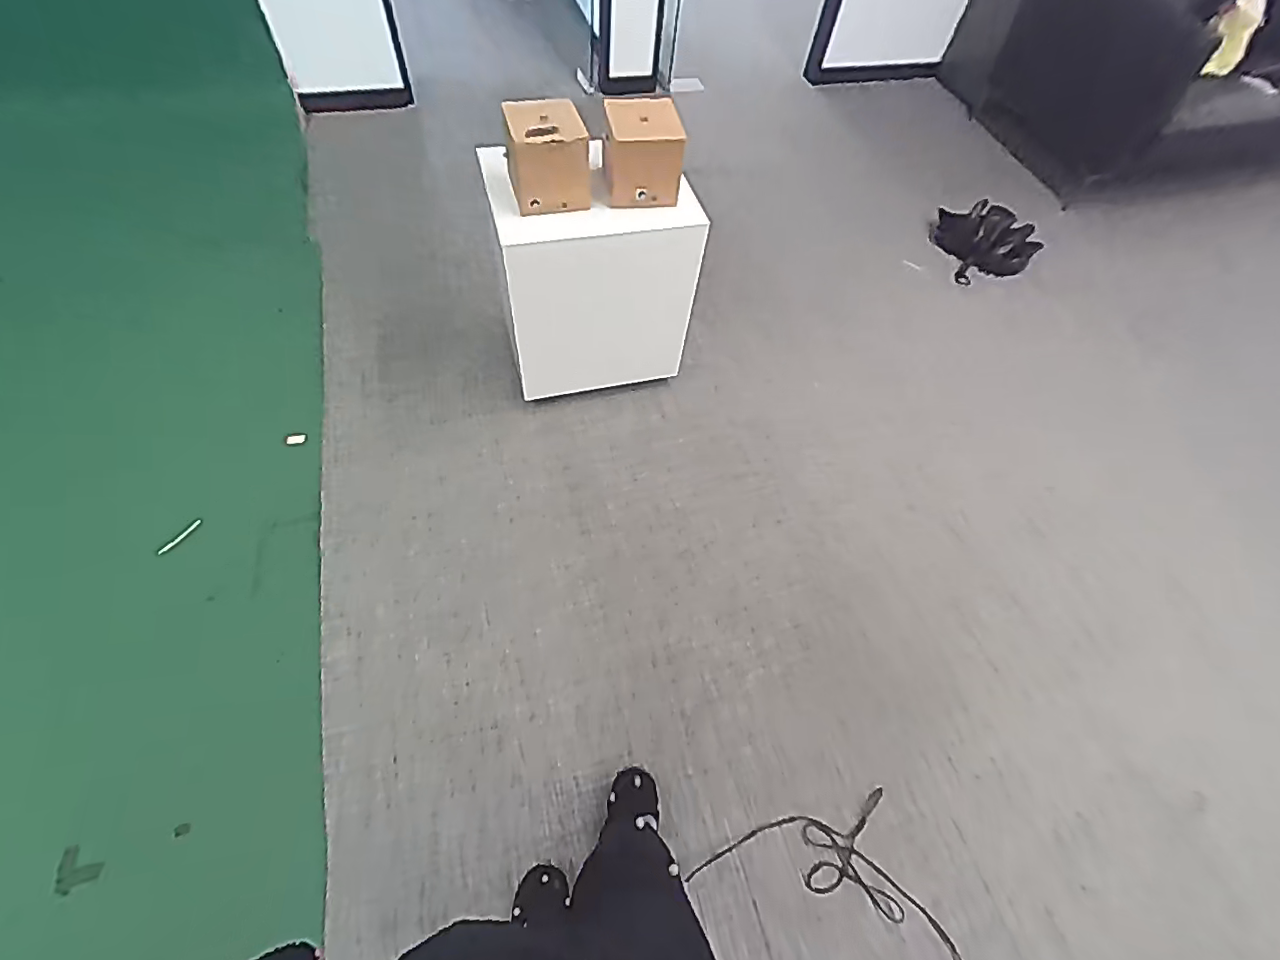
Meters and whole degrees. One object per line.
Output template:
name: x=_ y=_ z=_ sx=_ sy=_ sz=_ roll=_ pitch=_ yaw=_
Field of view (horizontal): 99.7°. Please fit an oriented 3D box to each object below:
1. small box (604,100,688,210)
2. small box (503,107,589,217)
small box: x=0.006 y=-0.783 z=1.305 sx=0.168 sy=0.176 sz=0.179 roll=-8 pitch=62 yaw=-9
small box: x=-0.218 y=-0.743 z=1.276 sx=0.168 sy=0.176 sz=0.179 roll=-12 pitch=60 yaw=-13
